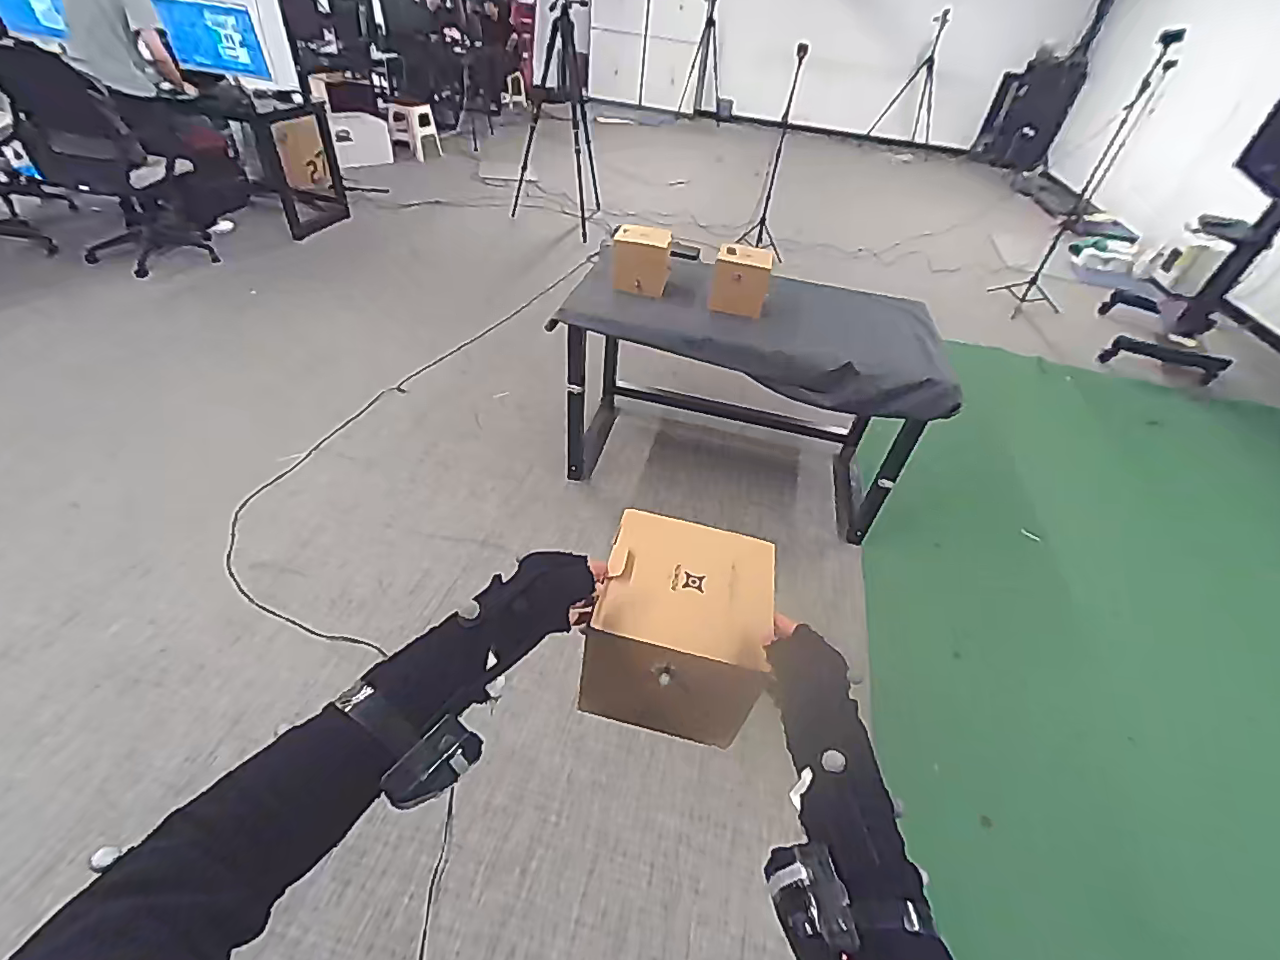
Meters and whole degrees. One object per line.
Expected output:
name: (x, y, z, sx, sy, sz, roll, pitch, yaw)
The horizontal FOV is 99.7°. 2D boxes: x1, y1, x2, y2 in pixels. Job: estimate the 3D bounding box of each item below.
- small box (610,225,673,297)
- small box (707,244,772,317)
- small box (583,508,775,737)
small box: (0.005, -0.739, 1.831, 0.179, 0.176, 0.168, 12, 42, 3)
small box: (0.326, -0.658, 1.789, 0.179, 0.176, 0.168, 13, 42, 5)
small box: (0.041, 0.162, 0.609, 0.179, 0.176, 0.168, 14, 42, 2)
